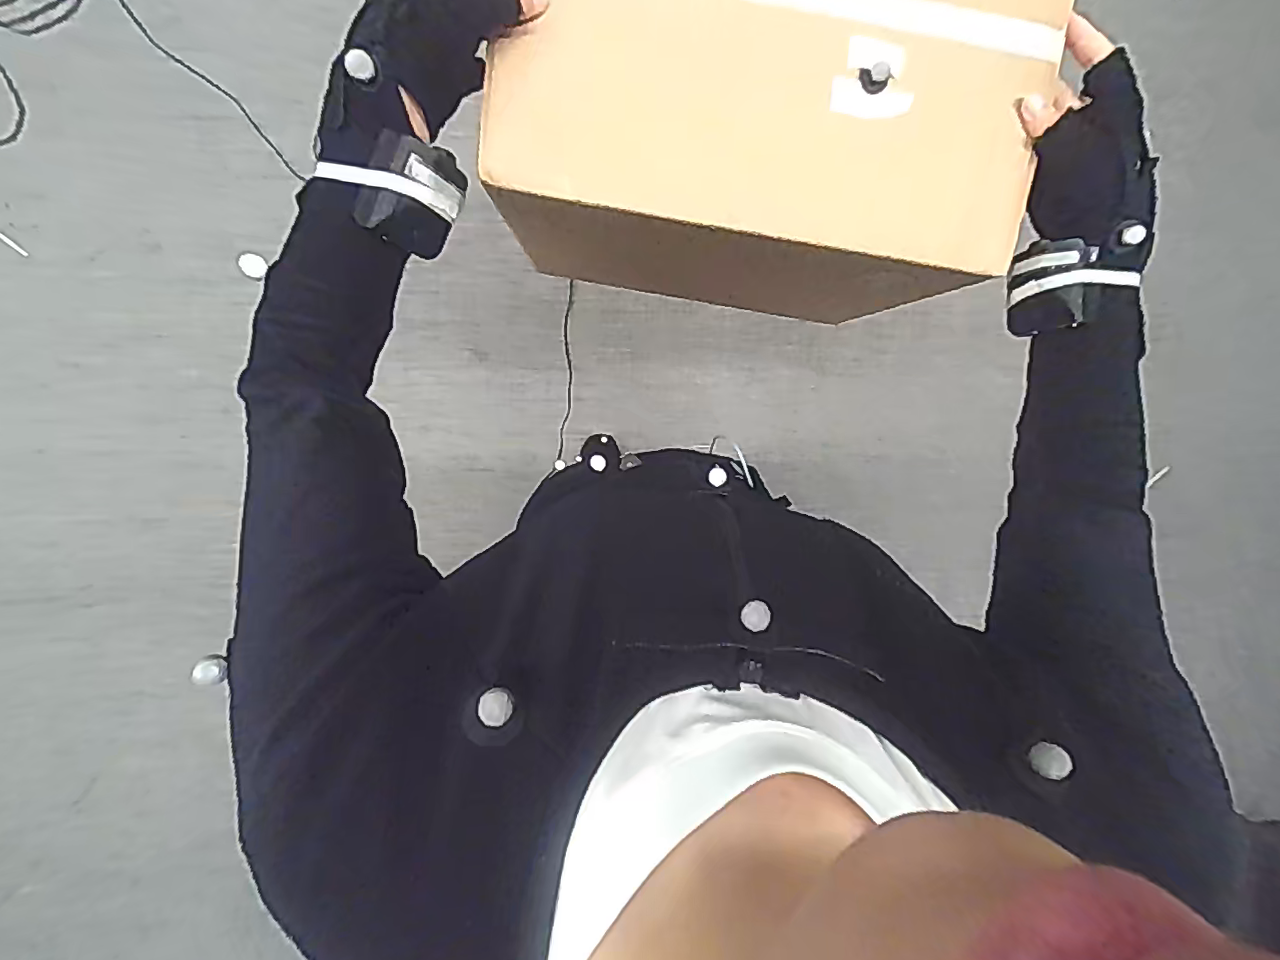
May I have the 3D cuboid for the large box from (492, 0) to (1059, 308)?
[{"bbox_3d":[0.093,-0.372,0.529,0.408,0.320,0.320,7,100,-6],"label":"large box"}]
